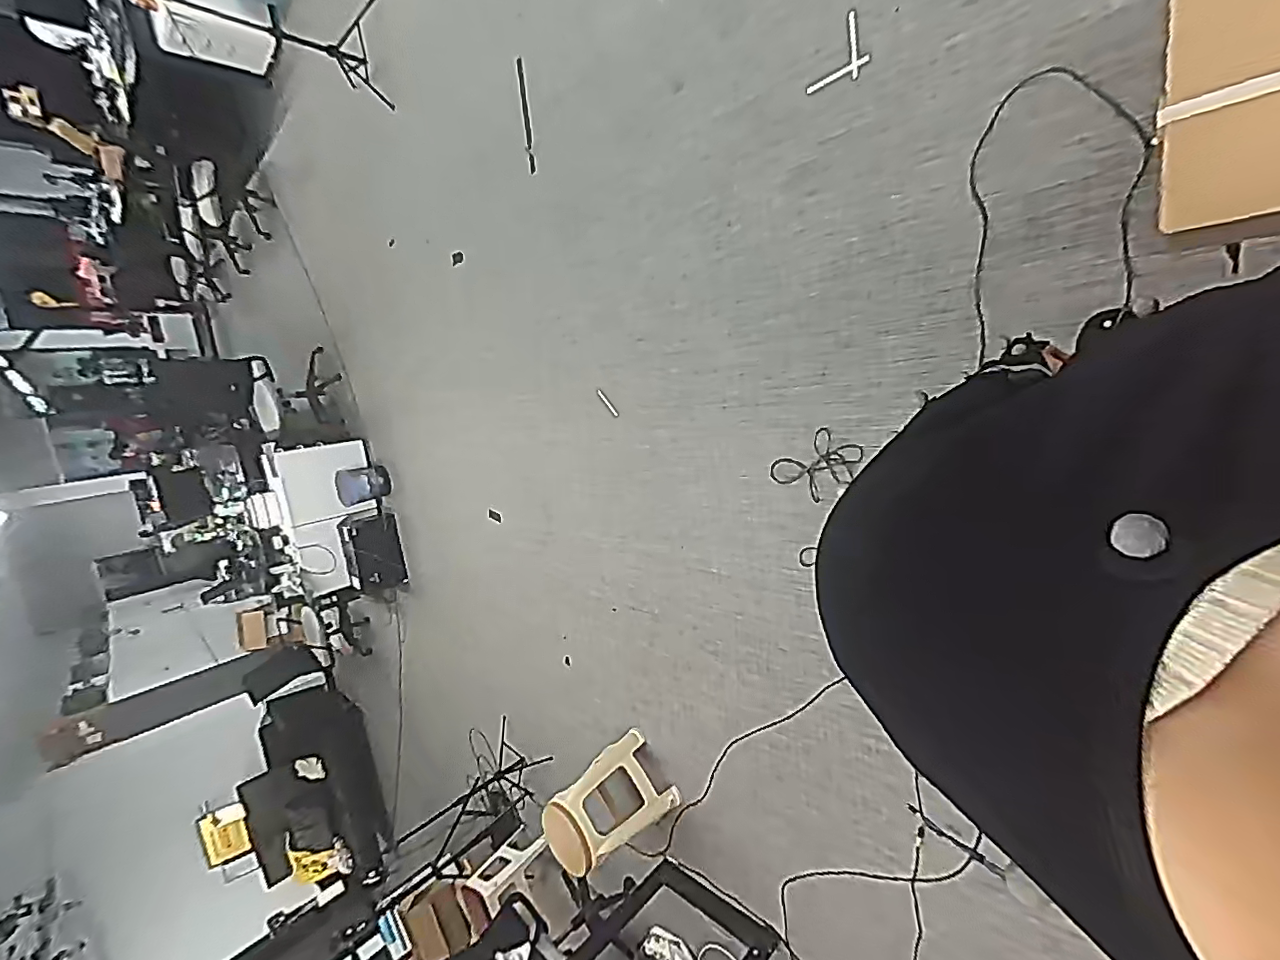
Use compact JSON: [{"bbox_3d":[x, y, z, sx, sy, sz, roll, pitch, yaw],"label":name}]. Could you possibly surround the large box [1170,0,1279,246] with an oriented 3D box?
[{"bbox_3d":[0.947,-0.519,0.675,0.408,0.320,0.320,3,104,44],"label":"large box"}]
